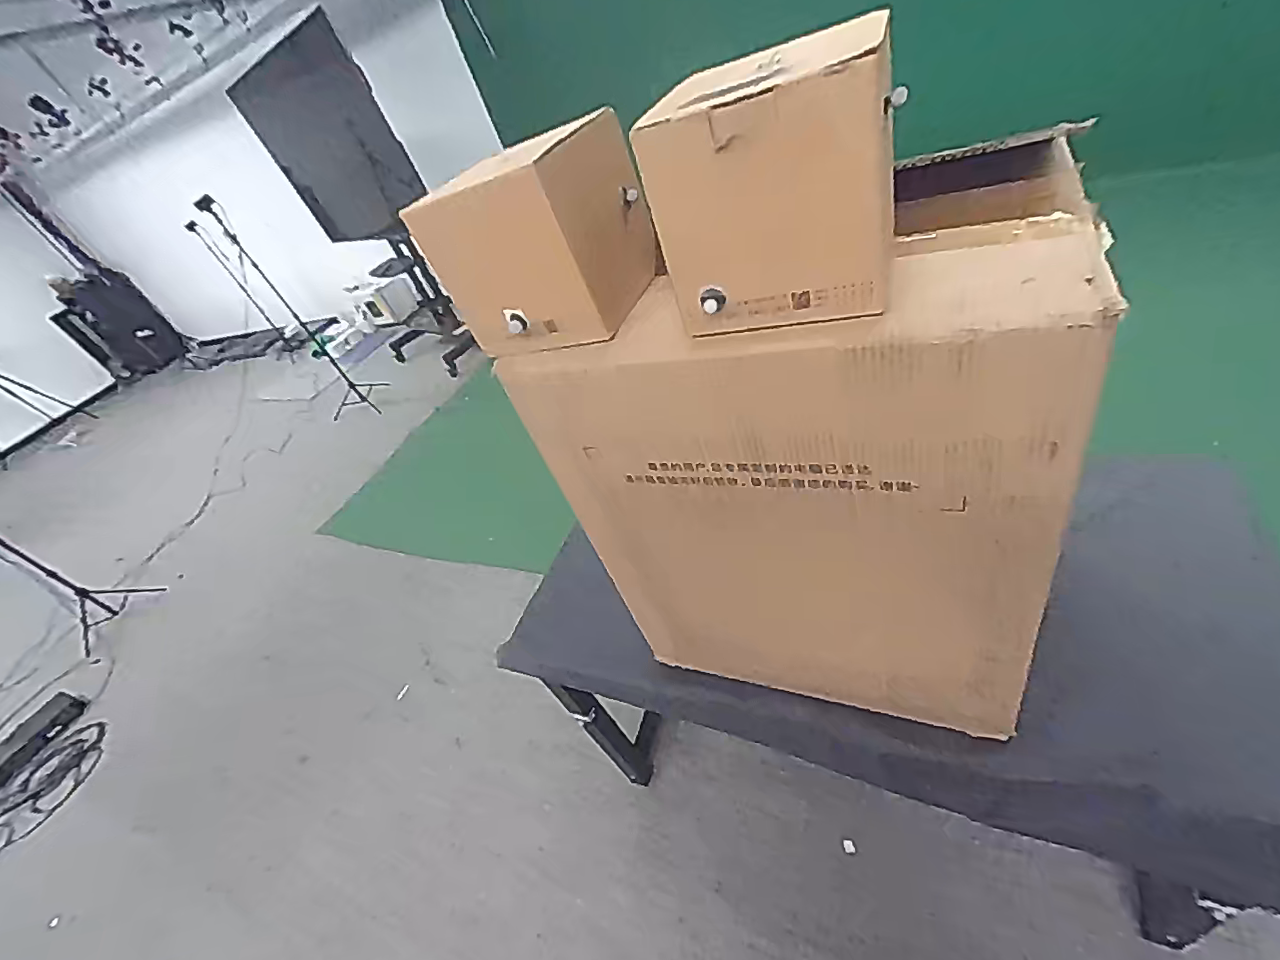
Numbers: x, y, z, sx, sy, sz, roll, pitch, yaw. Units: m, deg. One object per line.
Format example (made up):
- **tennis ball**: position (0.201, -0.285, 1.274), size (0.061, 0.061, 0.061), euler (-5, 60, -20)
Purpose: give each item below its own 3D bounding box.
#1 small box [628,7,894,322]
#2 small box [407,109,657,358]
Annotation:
- **small box**: position (0.116, -0.245, 0.450), size (0.168, 0.176, 0.179), euler (1, 45, 27)
- **small box**: position (-0.097, -0.253, 0.577), size (0.168, 0.176, 0.179), euler (-1, 45, 30)
